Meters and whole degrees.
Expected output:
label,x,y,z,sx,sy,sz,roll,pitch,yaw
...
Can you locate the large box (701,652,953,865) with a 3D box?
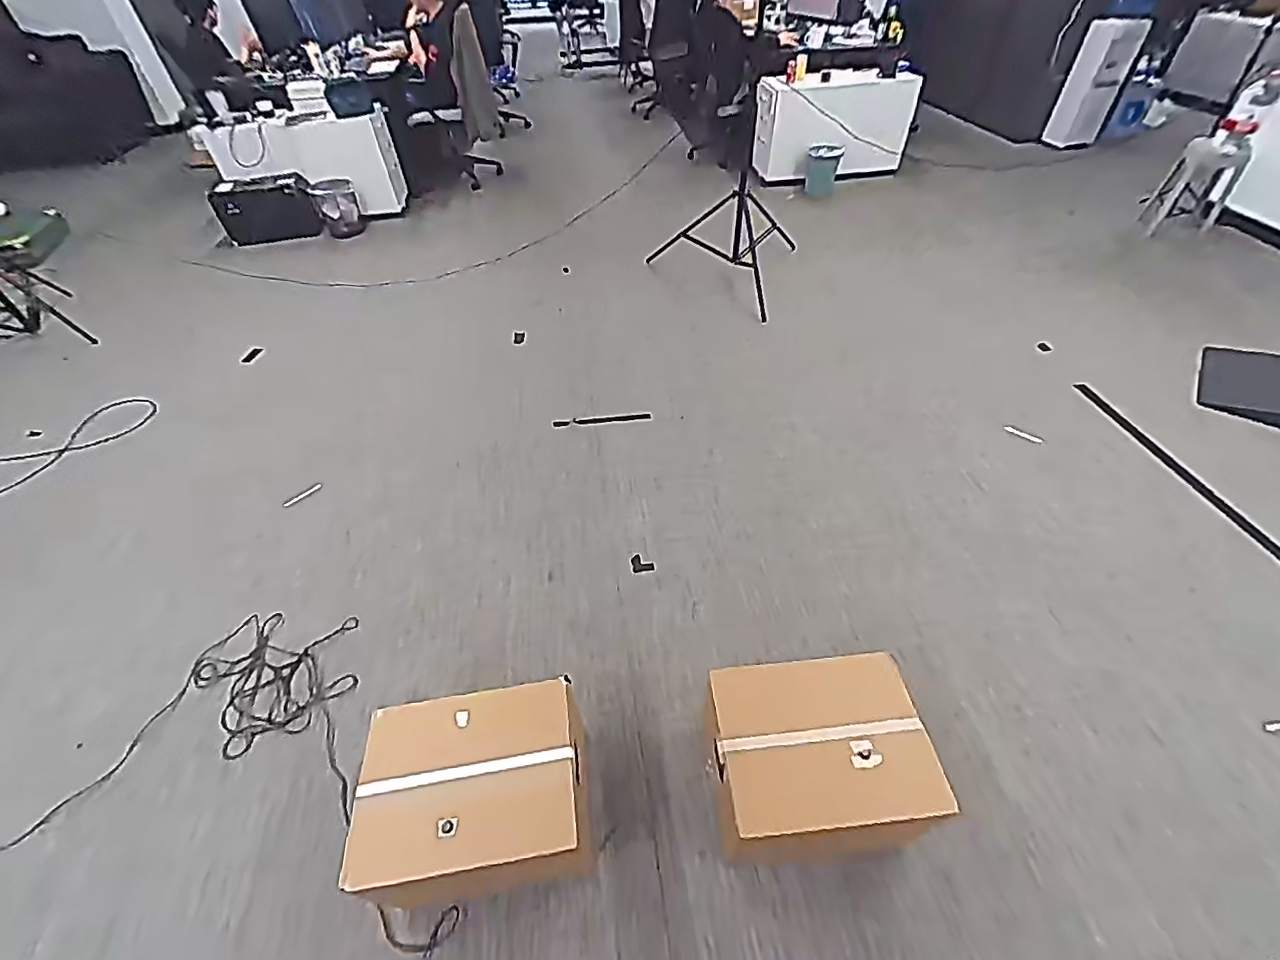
label,x,y,z,sx,sy,sz,roll,pitch,yaw
large box,0.364,0.609,1.184,0.408,0.320,0.320,-4,47,-3
